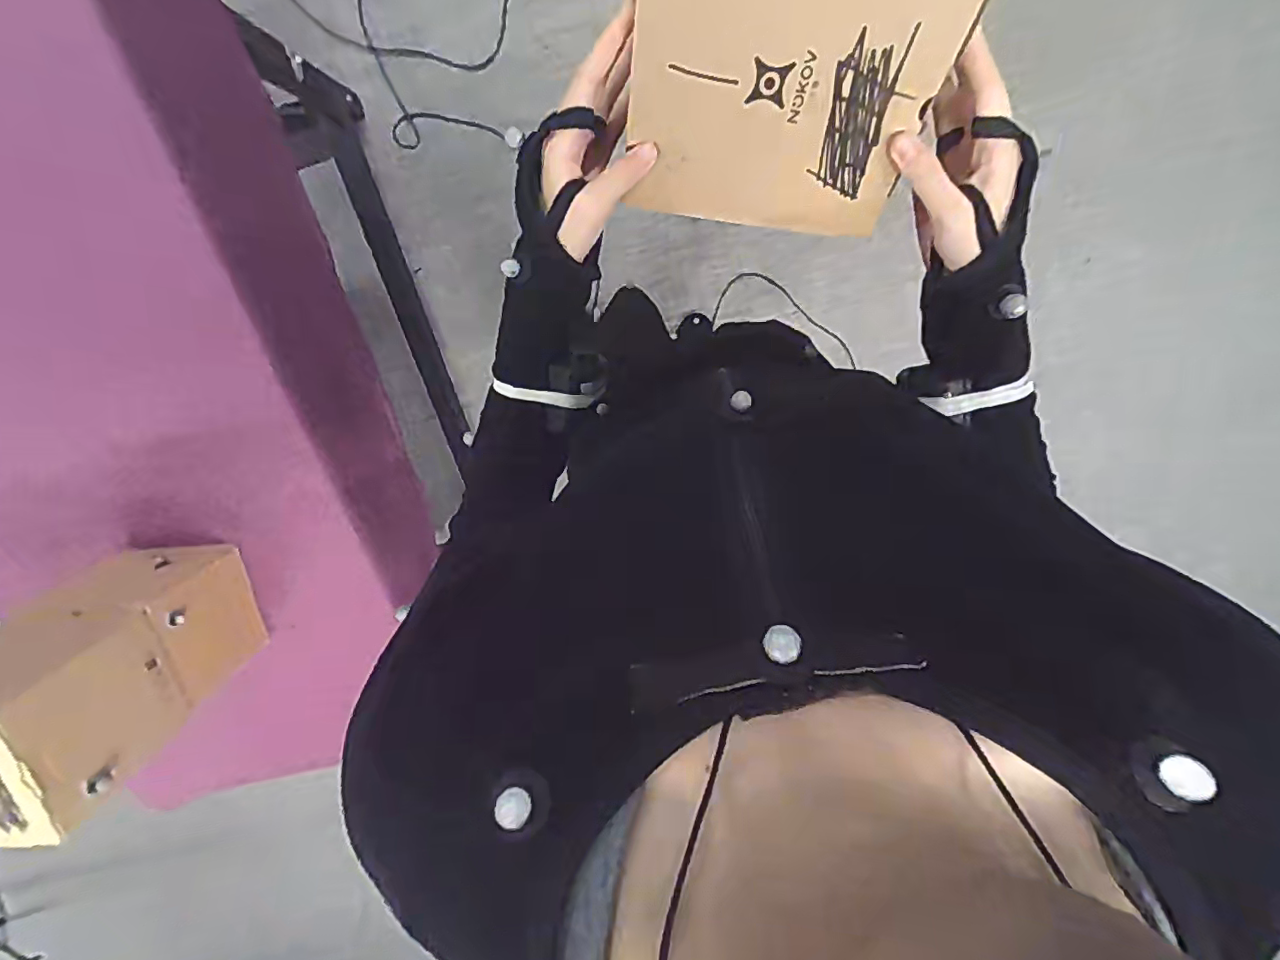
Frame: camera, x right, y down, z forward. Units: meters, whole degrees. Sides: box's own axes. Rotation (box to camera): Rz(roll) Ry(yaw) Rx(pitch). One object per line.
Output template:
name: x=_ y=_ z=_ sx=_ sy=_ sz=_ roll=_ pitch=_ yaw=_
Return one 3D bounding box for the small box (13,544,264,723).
small box: x=-0.670 y=0.206 z=0.752 sx=0.168 sy=0.176 sz=0.179 roll=-4 pitch=108 yaw=2

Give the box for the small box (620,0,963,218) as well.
small box: x=0.087 y=-0.306 z=0.355 sx=0.179 sy=0.176 sz=0.168 roll=8 pitch=146 yaw=-1
